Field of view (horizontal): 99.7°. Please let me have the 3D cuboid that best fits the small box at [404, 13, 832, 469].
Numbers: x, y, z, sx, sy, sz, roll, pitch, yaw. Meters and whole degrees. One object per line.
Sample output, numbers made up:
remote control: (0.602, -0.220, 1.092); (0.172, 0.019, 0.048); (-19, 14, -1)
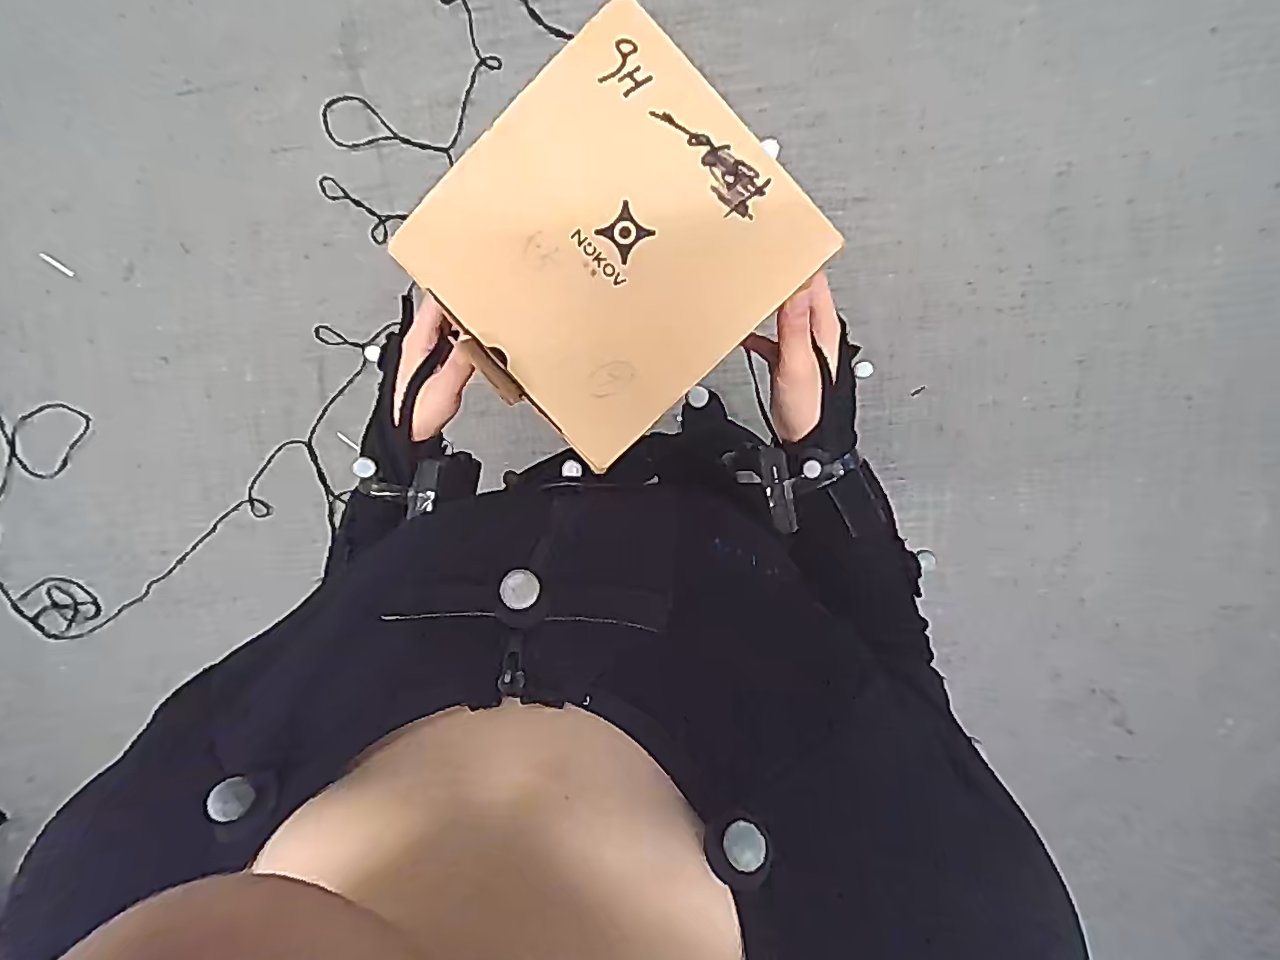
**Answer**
small box: (-0.009, -0.131, 0.366); (0.179, 0.176, 0.168); (-43, 94, 7)
